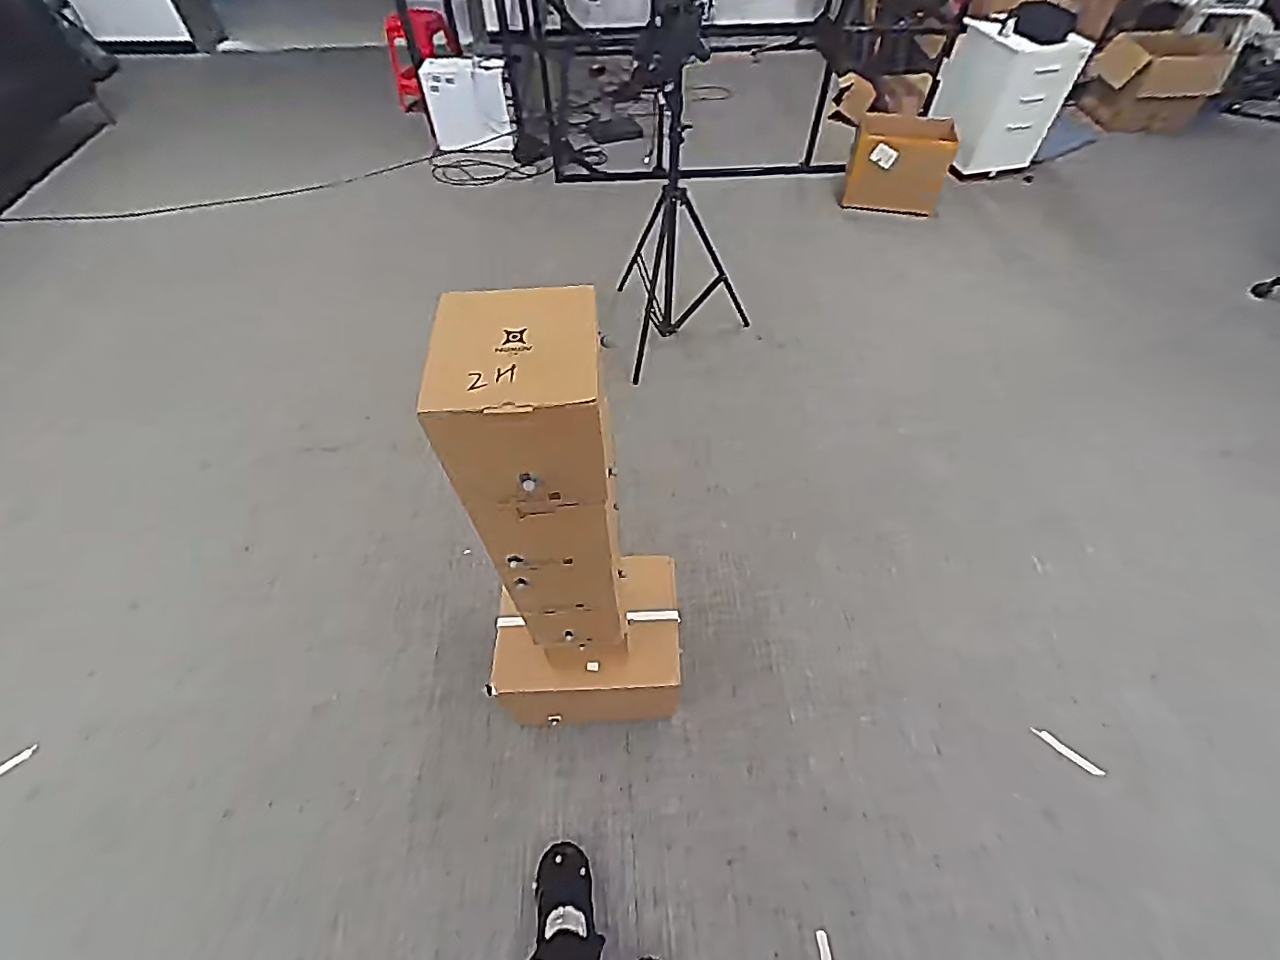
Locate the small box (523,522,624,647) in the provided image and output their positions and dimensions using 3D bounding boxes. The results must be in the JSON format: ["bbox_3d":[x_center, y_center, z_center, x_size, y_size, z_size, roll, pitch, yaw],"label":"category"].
[{"bbox_3d":[-0.117,0.196,1.007,0.168,0.176,0.179,-4,56,-2],"label":"small box"}]

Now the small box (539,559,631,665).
[{"bbox_3d":[-0.112,0.283,1.143,0.179,0.176,0.168,-4,55,-3],"label":"small box"}]

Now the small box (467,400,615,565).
[{"bbox_3d":[-0.120,0.008,0.737,0.168,0.176,0.179,-2,54,-1],"label":"small box"}]

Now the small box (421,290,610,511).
[{"bbox_3d":[-0.121,-0.085,0.601,0.168,0.176,0.179,-4,56,-1],"label":"small box"}]
